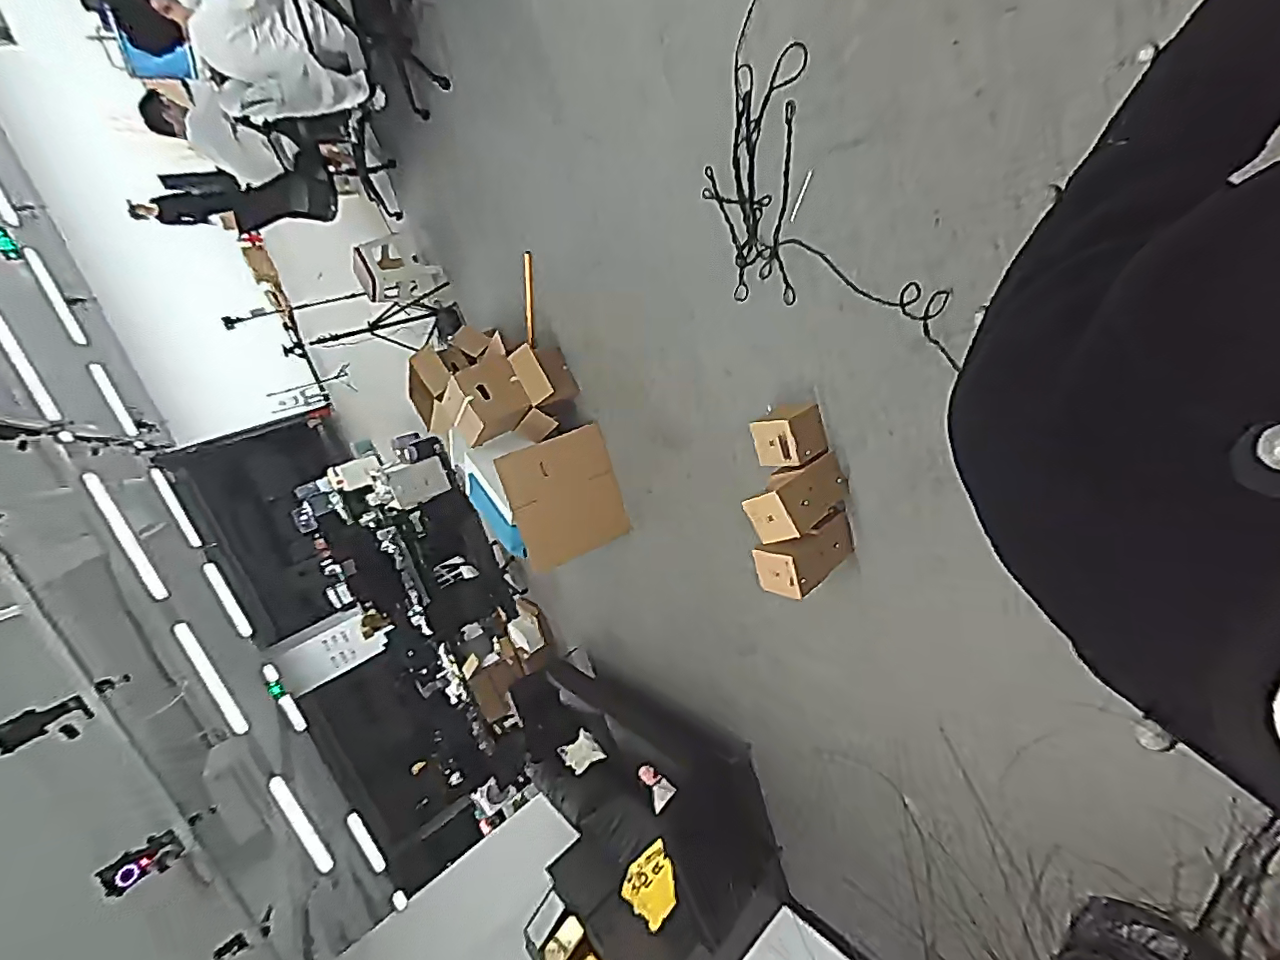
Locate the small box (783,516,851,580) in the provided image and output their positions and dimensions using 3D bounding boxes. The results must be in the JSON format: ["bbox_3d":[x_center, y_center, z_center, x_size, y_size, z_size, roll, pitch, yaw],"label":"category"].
[{"bbox_3d":[0.643,0.237,1.972,0.168,0.176,0.179,4,116,55],"label":"small box"}]

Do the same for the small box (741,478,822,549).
[{"bbox_3d":[0.479,0.110,1.806,0.168,0.176,0.179,62,149,0],"label":"small box"}]
